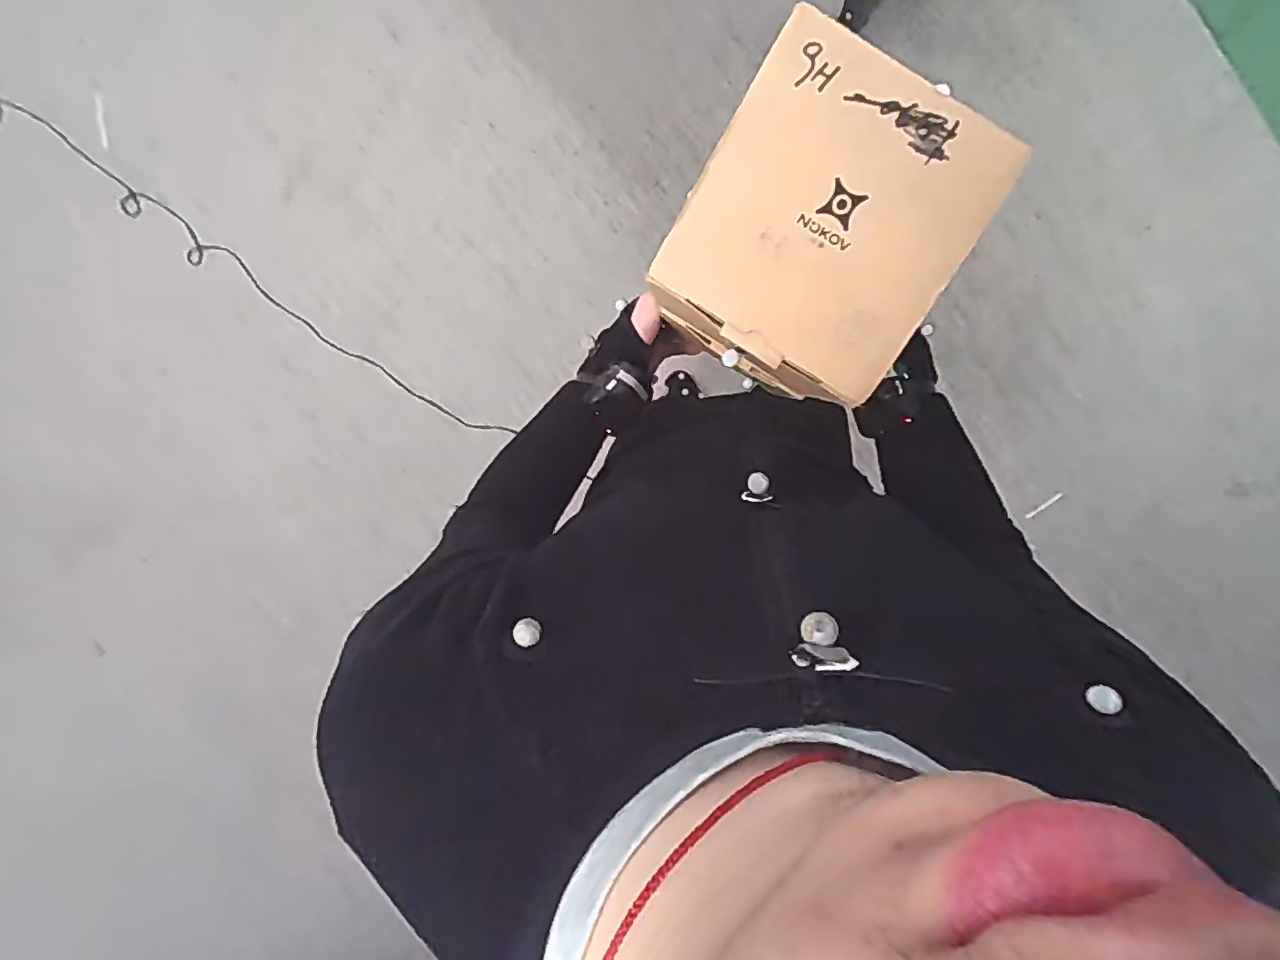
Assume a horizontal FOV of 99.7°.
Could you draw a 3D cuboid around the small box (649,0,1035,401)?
[{"bbox_3d":[0.126,-0.180,0.407,0.168,0.176,0.179,32,103,-3],"label":"small box"}]
